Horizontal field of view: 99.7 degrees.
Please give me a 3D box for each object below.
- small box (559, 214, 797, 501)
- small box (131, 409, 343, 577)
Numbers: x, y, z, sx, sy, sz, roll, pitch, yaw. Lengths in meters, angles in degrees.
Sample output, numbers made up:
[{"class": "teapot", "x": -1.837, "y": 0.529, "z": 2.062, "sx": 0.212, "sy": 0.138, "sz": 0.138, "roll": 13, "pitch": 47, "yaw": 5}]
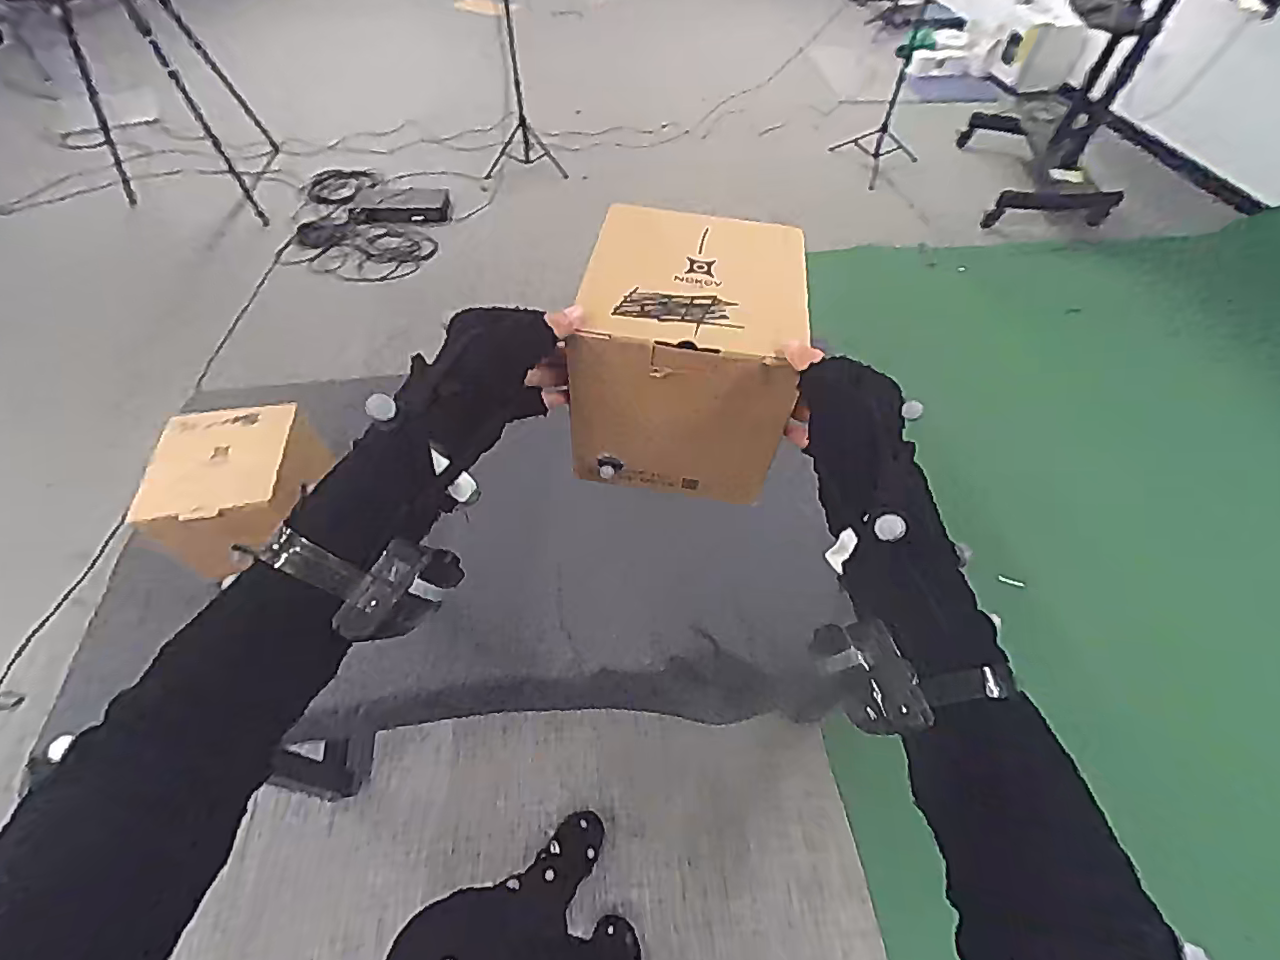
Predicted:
[{"class": "small box", "x": 0.035, "y": -0.103, "z": 0.478, "sx": 0.168, "sy": 0.176, "sz": 0.179, "roll": 10, "pitch": 52, "yaw": 3}, {"class": "small box", "x": -0.551, "y": 0.026, "z": 0.773, "sx": 0.168, "sy": 0.176, "sz": 0.179, "roll": -7, "pitch": 54, "yaw": -7}]
